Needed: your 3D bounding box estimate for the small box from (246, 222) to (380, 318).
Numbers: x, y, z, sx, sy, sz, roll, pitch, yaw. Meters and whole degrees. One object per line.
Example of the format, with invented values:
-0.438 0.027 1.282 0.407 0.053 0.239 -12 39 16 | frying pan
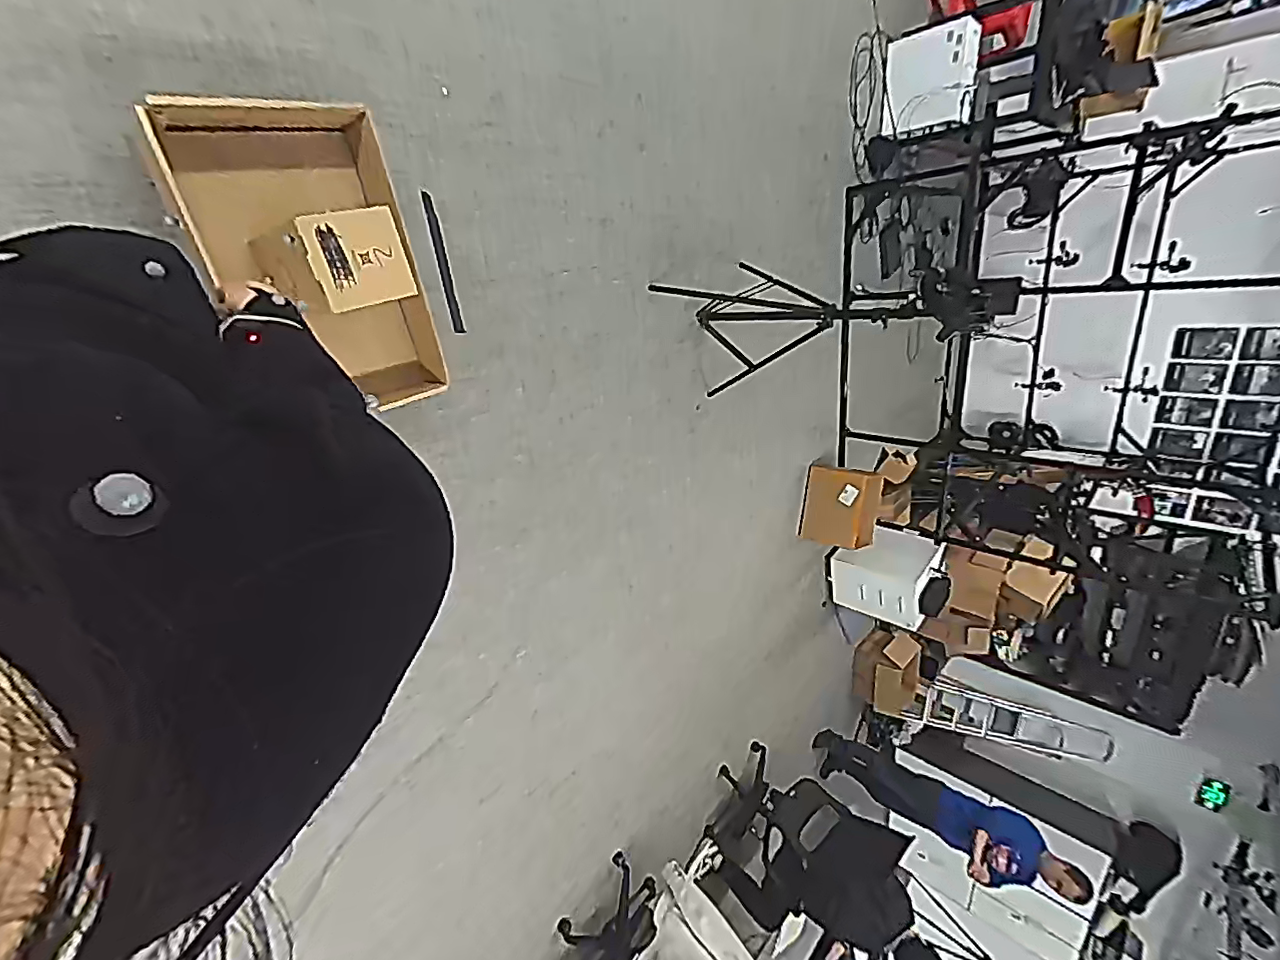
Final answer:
-0.708 -0.453 1.172 0.179 0.176 0.168 -33 122 -37 | small box
